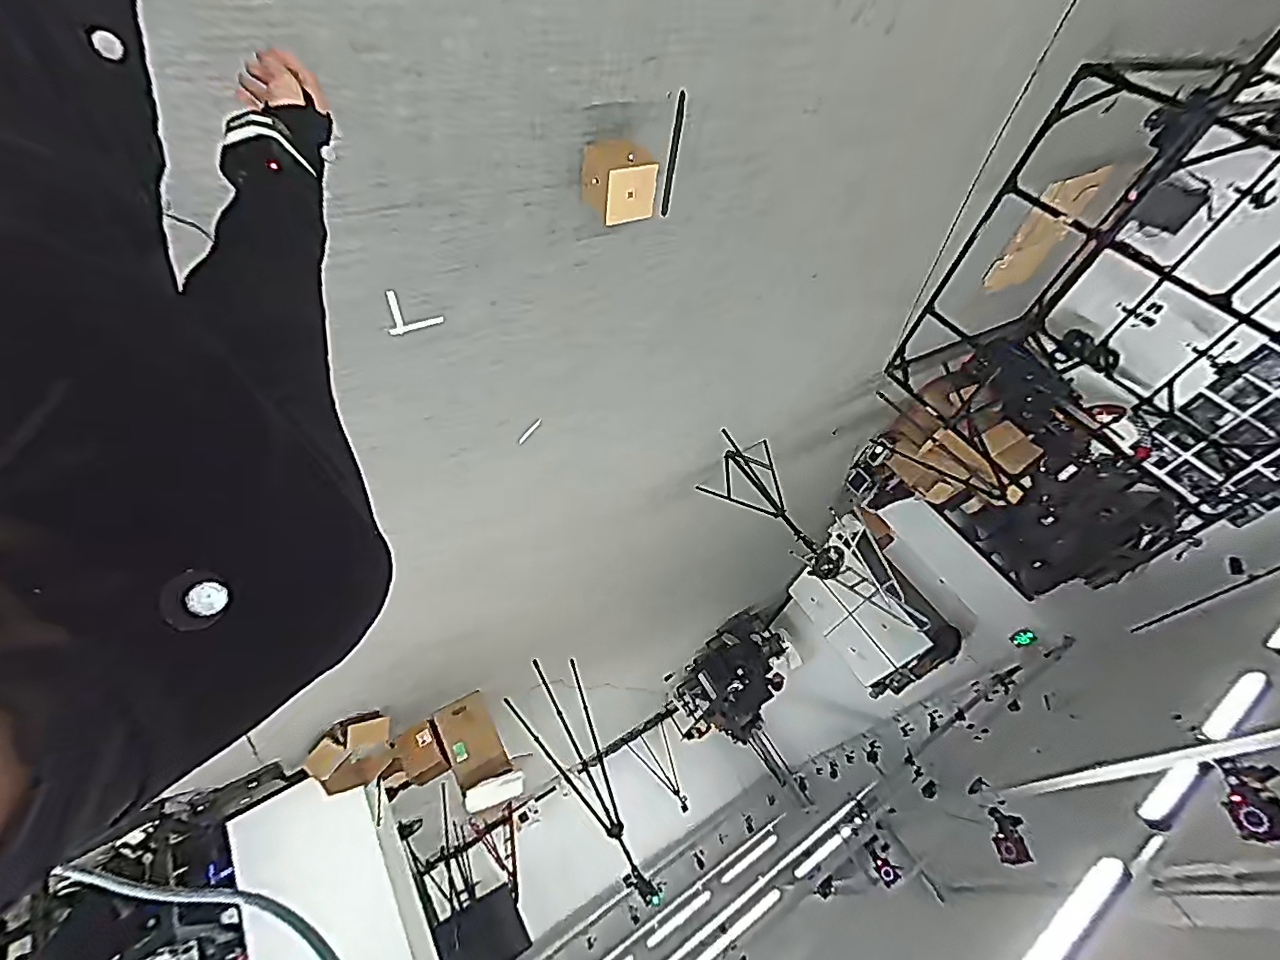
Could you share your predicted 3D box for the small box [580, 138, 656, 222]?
[{"bbox_3d":[-0.074,-0.936,1.682,0.179,0.176,0.168,-25,150,-24],"label":"small box"}]
